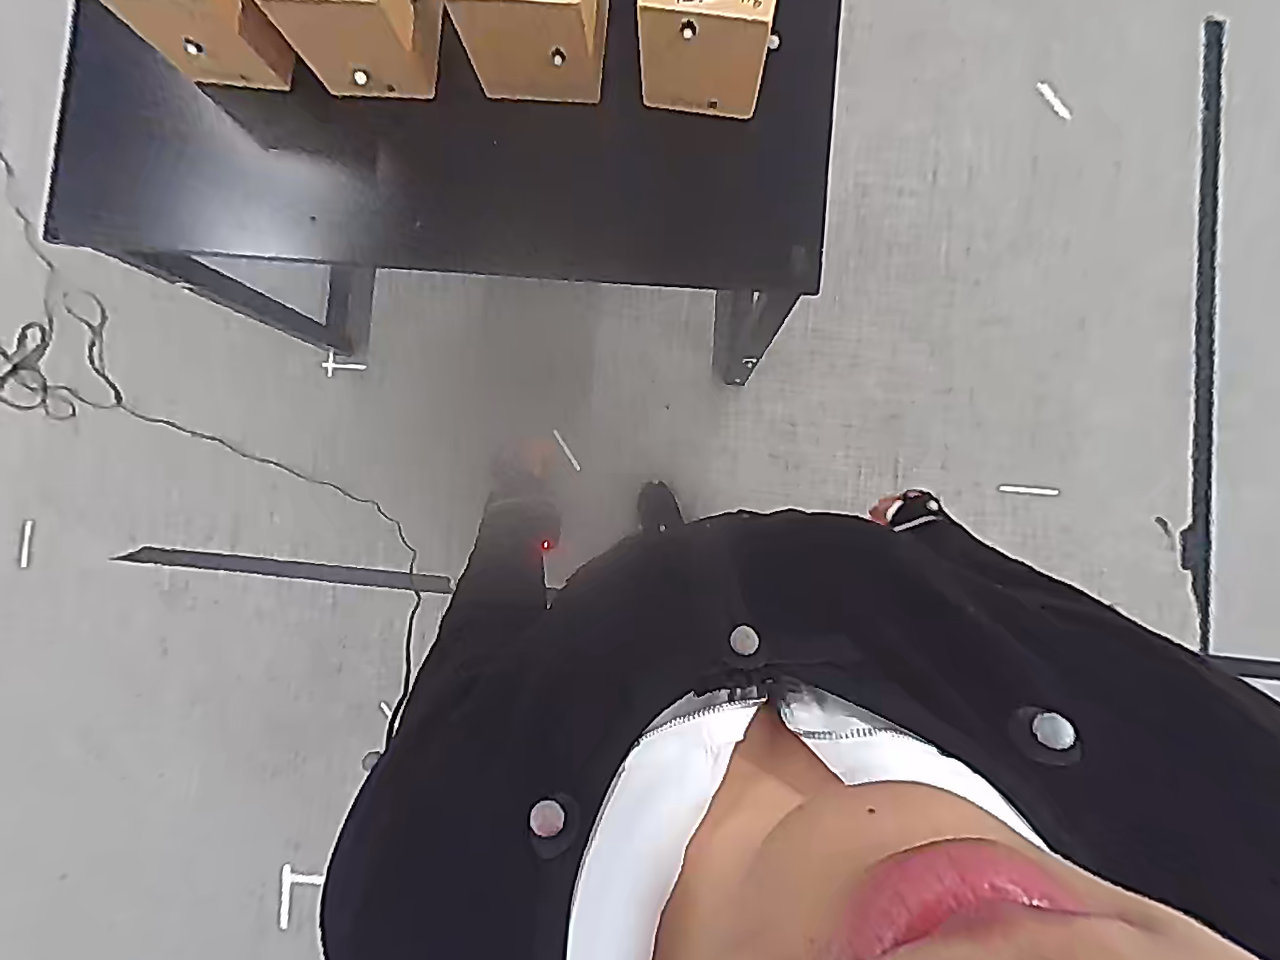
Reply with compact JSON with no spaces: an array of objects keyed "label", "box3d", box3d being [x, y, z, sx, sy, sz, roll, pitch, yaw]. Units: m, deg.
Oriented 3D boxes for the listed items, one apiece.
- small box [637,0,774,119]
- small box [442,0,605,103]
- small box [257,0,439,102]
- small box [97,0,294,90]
[{"label":"small box","box3d":[0.093,-0.637,0.729,0.168,0.176,0.179,10,87,4]},{"label":"small box","box3d":[-0.147,-0.658,0.745,0.179,0.176,0.168,4,87,4]},{"label":"small box","box3d":[-0.395,-0.676,0.755,0.168,0.176,0.179,3,89,3]},{"label":"small box","box3d":[-0.618,-0.700,0.768,0.168,0.176,0.179,7,88,2]}]
